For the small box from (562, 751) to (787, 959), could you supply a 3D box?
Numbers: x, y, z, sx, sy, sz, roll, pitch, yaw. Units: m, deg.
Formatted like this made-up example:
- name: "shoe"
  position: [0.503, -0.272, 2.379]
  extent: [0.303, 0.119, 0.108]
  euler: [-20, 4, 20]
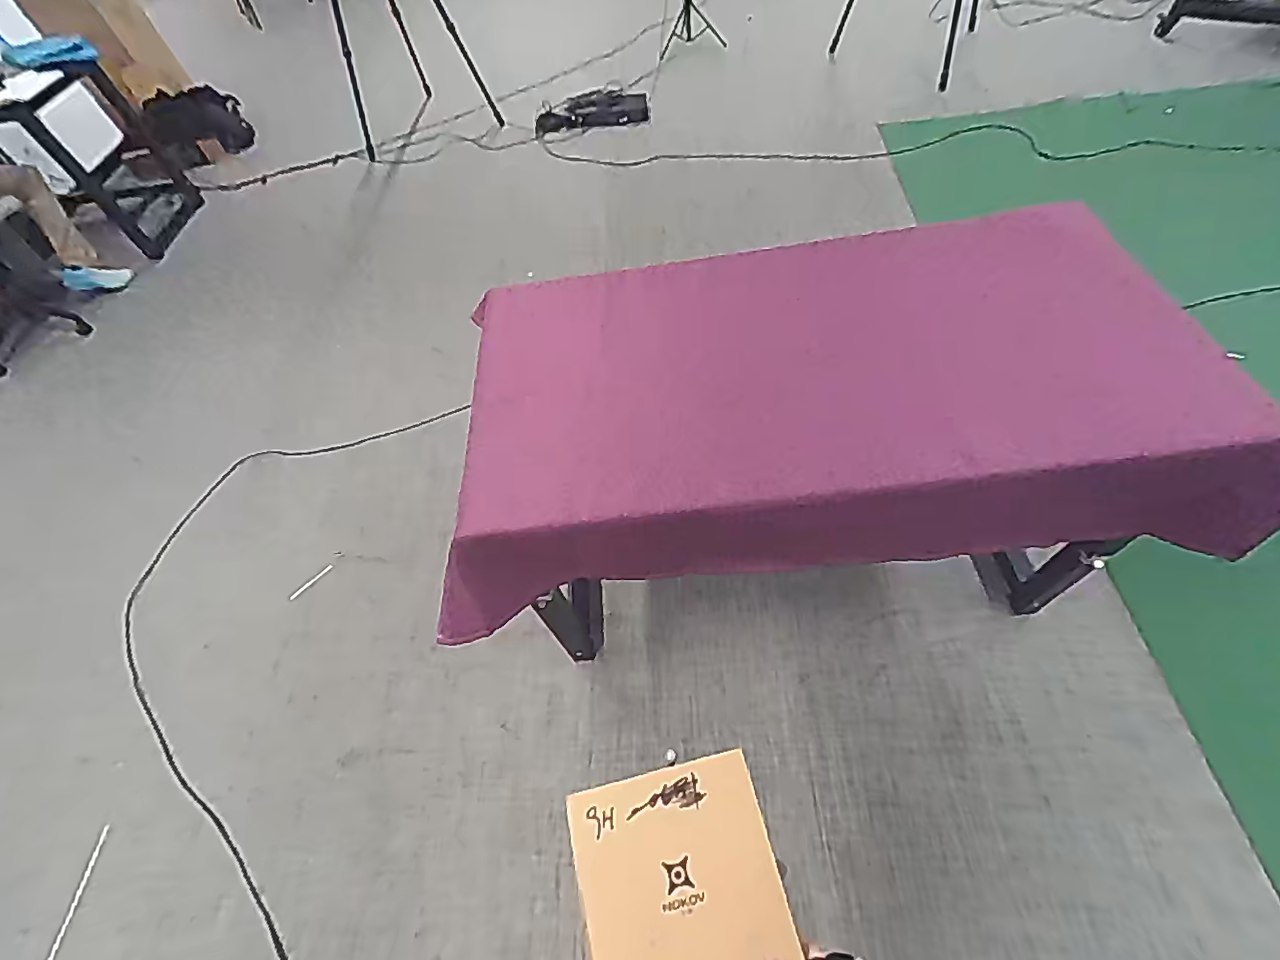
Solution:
- name: "small box"
  position: [0.032, 0.377, 0.527]
  extent: [0.168, 0.176, 0.179]
  euler: [-14, 61, -1]
